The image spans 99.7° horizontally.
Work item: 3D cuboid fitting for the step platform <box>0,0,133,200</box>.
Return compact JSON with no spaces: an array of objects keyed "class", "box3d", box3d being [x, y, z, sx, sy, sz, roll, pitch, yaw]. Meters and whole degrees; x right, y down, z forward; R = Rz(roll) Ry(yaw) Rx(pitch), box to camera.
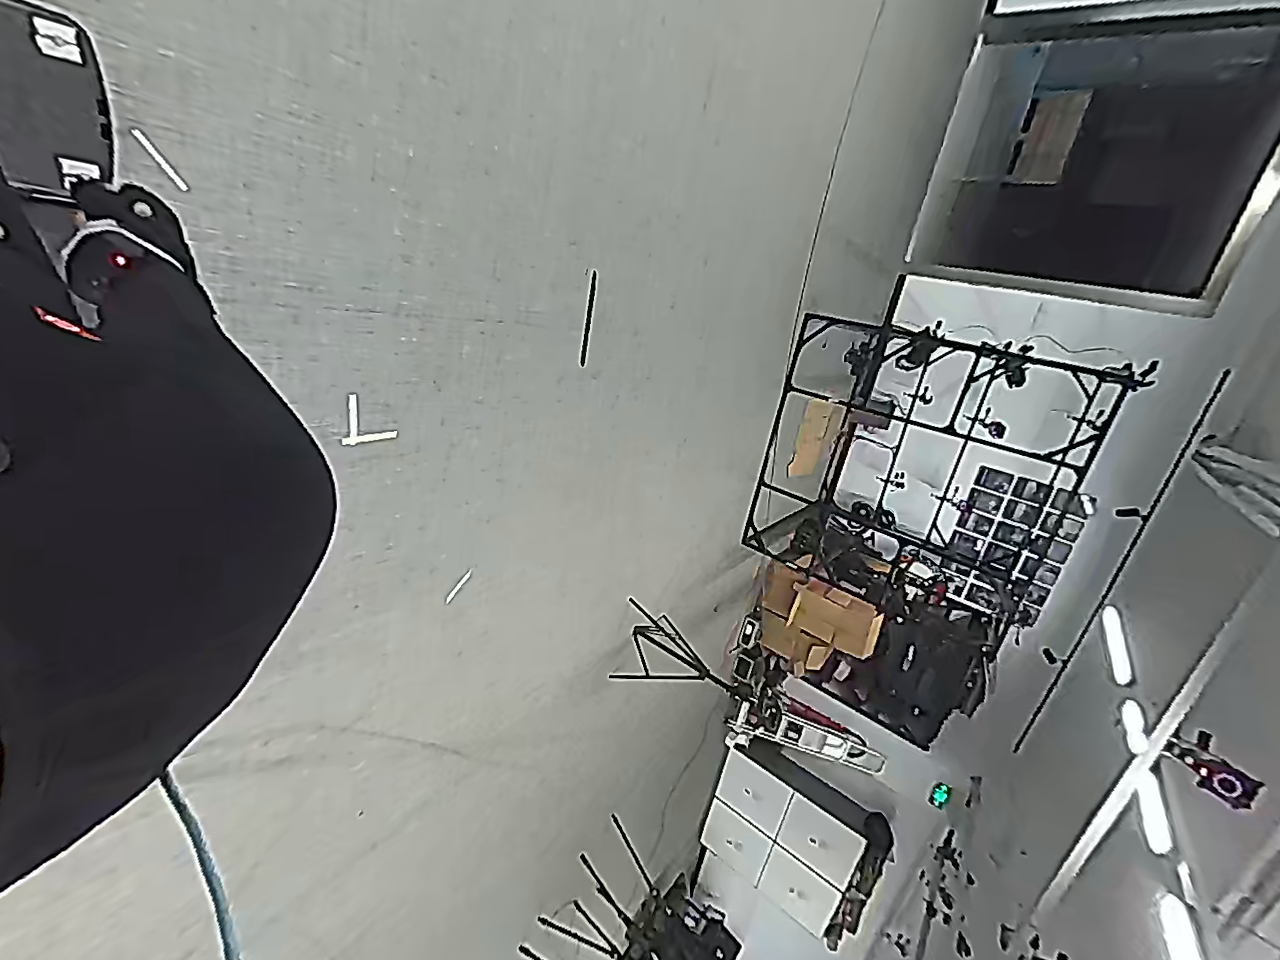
[{"class":"step platform","box3d":[-1.161,-0.604,0.736,0.684,0.204,0.286,-19,126,-52]}]
